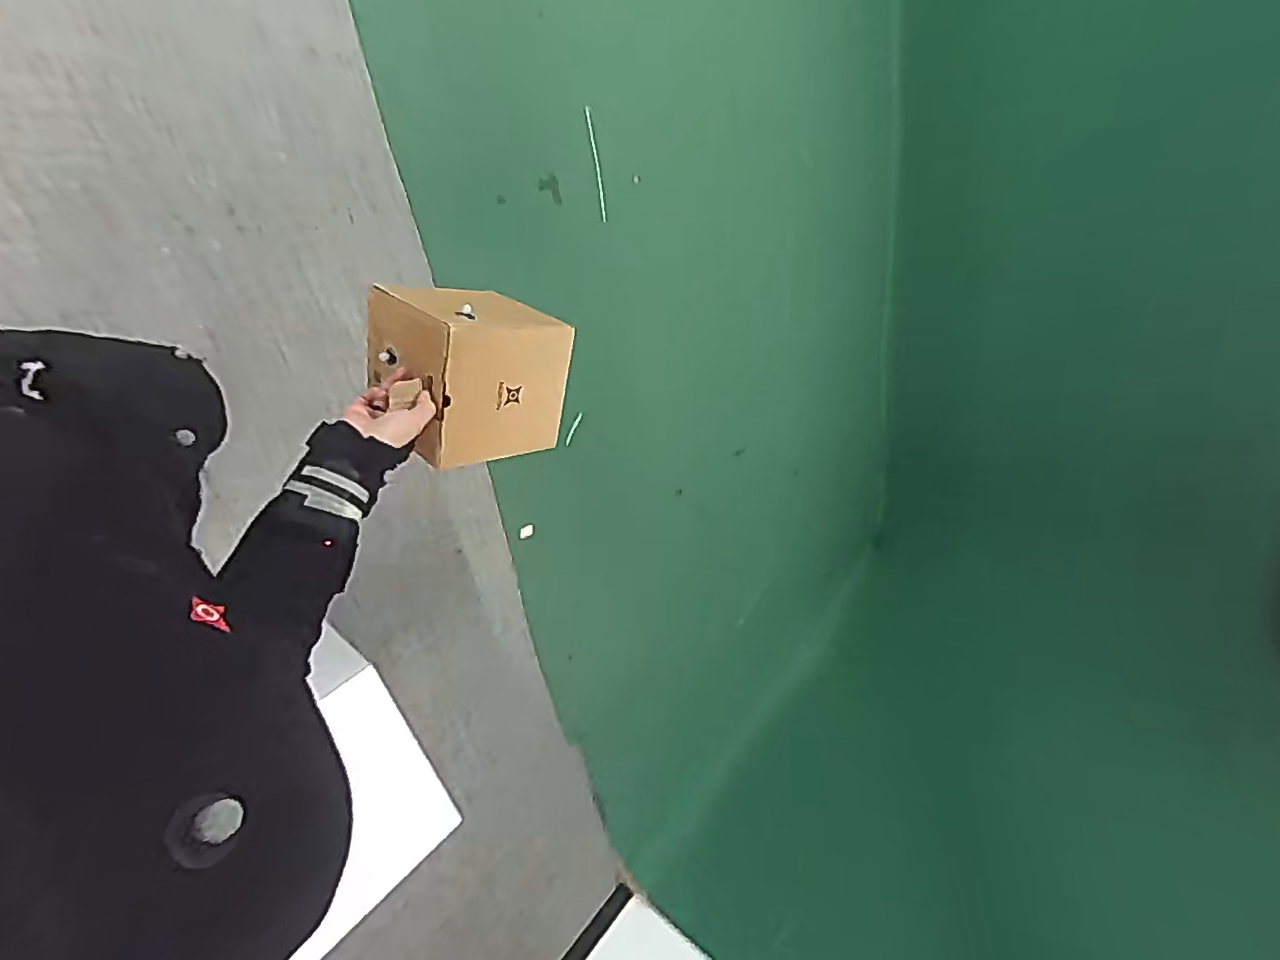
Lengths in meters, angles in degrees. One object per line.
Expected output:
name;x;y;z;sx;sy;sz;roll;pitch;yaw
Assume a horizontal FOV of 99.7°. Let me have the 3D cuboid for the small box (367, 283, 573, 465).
small box;-0.213;-0.140;0.672;0.179;0.176;0.168;-18;130;-47
